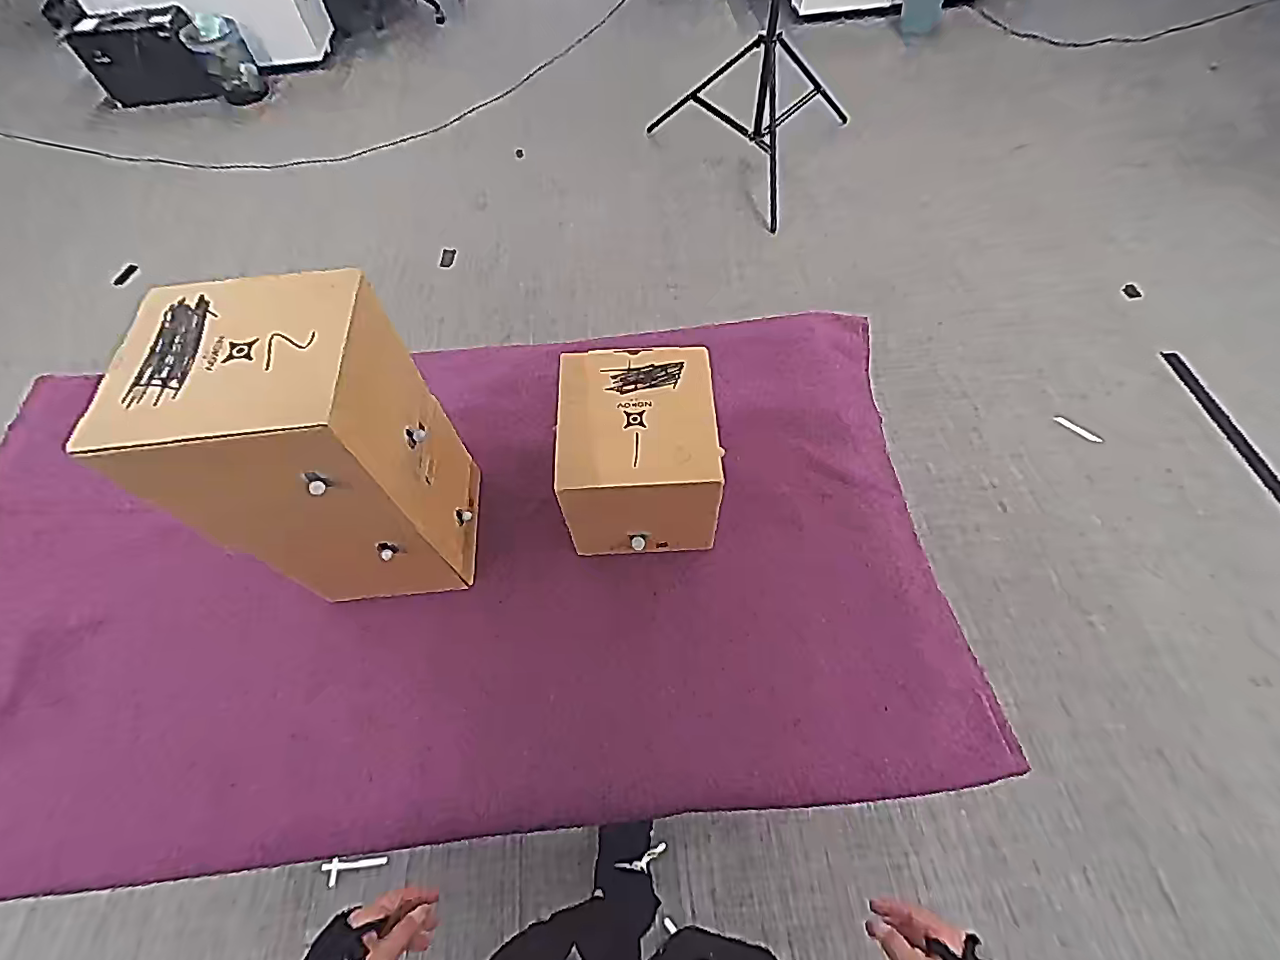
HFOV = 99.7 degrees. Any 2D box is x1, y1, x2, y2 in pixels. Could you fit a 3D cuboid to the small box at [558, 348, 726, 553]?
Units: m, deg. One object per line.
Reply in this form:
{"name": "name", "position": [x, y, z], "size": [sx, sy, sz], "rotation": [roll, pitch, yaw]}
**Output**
{"name": "small box", "position": [0.003, -0.029, 0.630], "size": [0.168, 0.176, 0.179], "rotation": [-3, 60, 2]}

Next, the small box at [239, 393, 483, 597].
{"name": "small box", "position": [-0.295, 0.025, 0.616], "size": [0.179, 0.176, 0.168], "rotation": [-6, 59, -1]}
